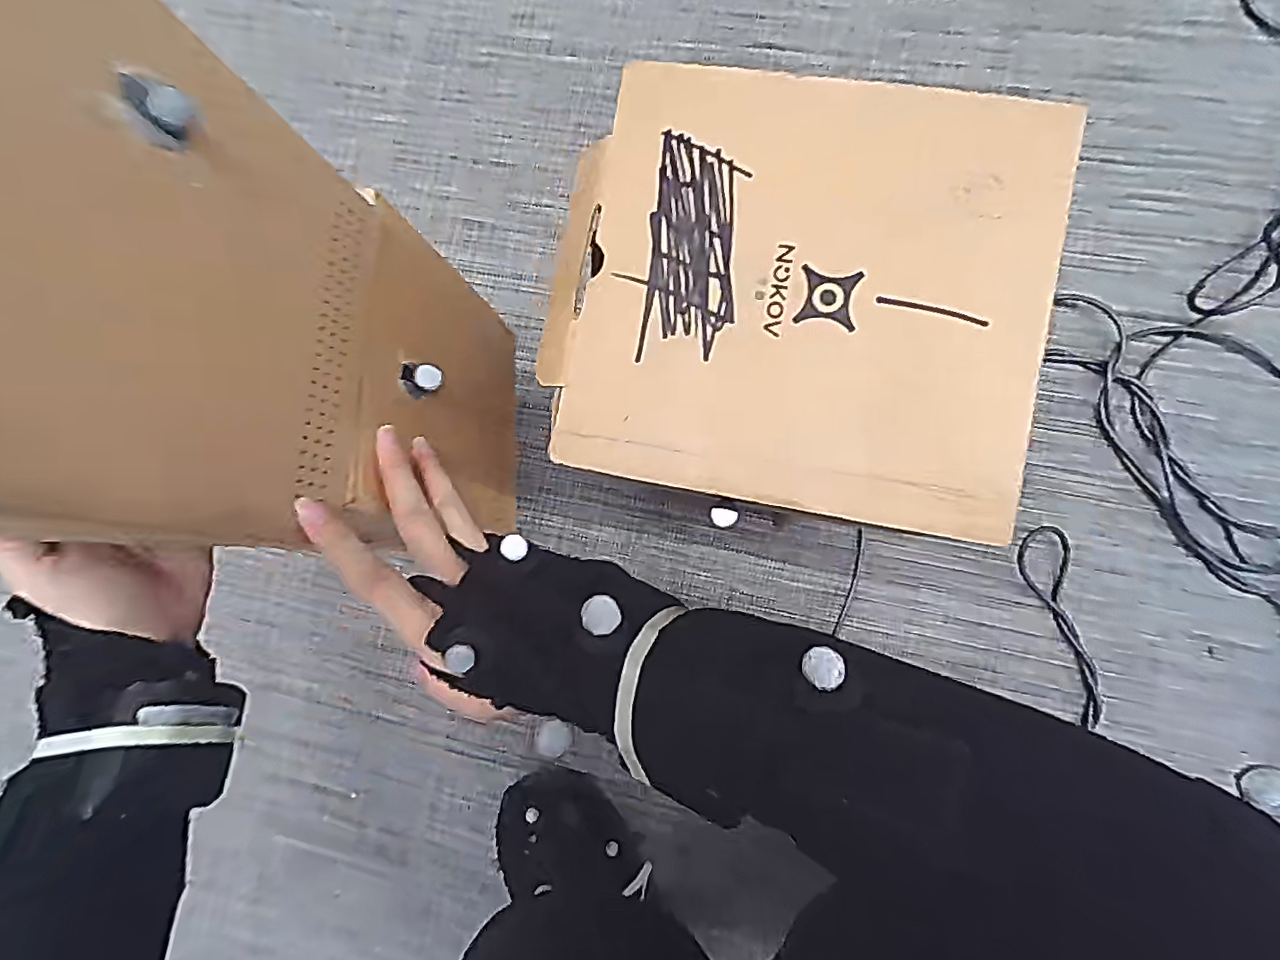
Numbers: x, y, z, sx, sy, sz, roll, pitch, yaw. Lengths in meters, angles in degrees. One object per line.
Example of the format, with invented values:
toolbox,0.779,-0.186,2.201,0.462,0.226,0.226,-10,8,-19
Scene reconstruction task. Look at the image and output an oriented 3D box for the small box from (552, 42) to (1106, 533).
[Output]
small box,0.074,-0.072,0.278,0.179,0.176,0.168,11,89,7
